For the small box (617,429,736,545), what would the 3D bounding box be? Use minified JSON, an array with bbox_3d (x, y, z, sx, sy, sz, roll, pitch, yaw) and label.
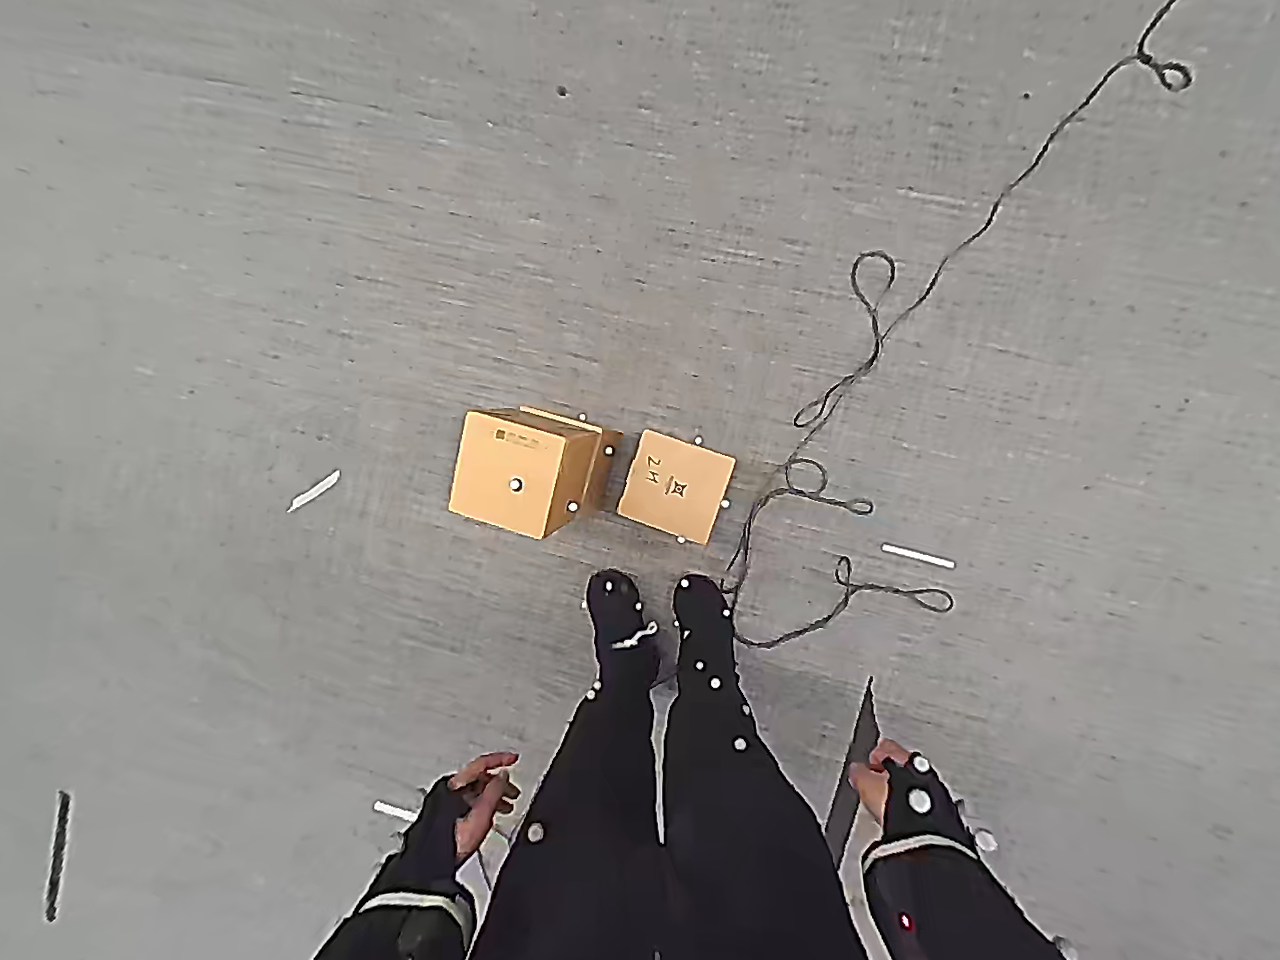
[{"bbox_3d":[0.075,0.008,1.041,0.179,0.176,0.168,19,95,8],"label":"small box"}]
